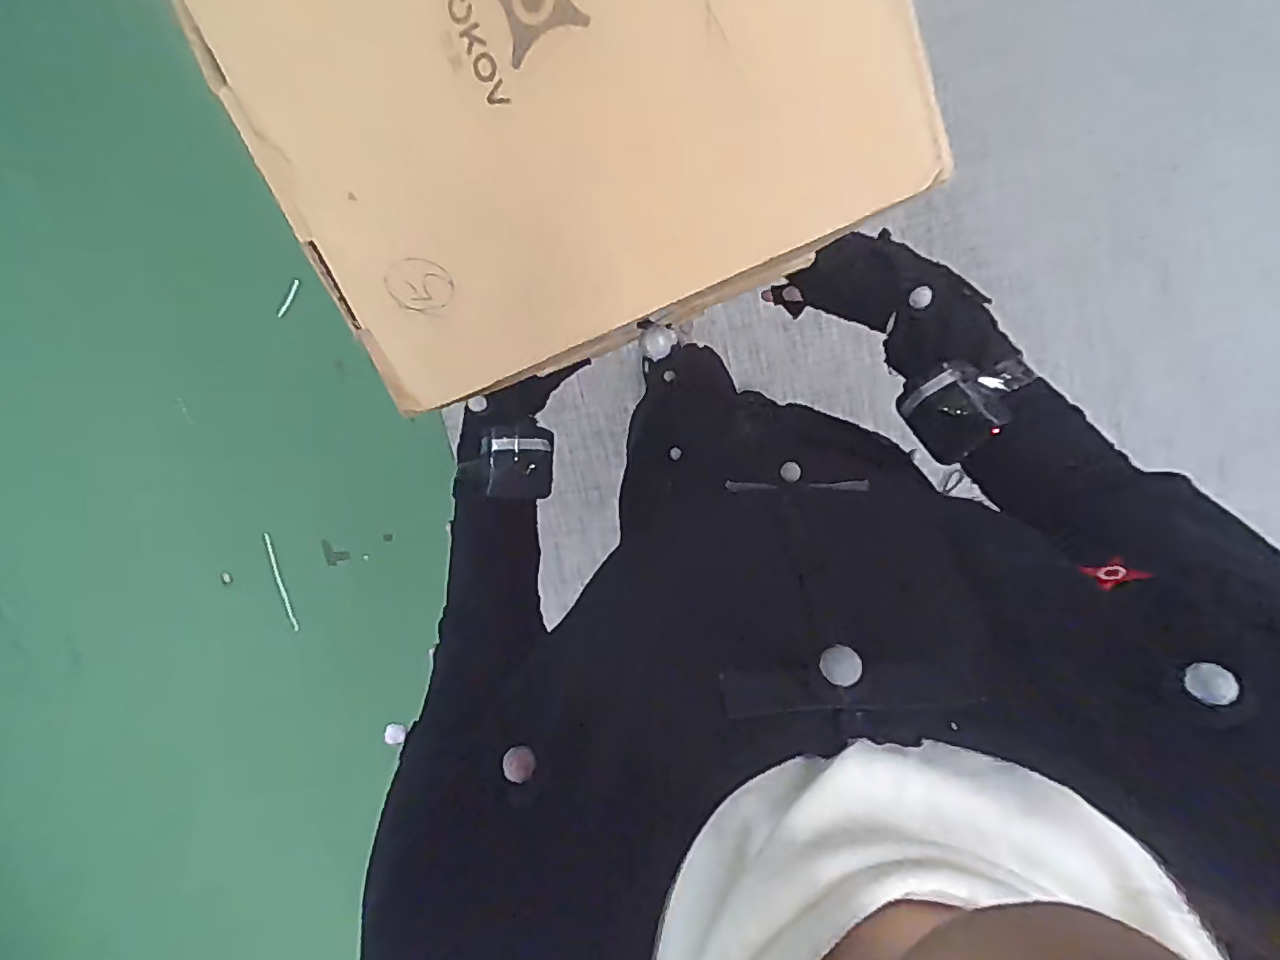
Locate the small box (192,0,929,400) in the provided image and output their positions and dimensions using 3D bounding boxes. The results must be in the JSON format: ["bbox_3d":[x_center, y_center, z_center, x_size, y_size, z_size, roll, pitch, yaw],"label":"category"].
[{"bbox_3d":[-0.022,-0.150,0.220,0.179,0.176,0.168,-21,106,12],"label":"small box"}]
